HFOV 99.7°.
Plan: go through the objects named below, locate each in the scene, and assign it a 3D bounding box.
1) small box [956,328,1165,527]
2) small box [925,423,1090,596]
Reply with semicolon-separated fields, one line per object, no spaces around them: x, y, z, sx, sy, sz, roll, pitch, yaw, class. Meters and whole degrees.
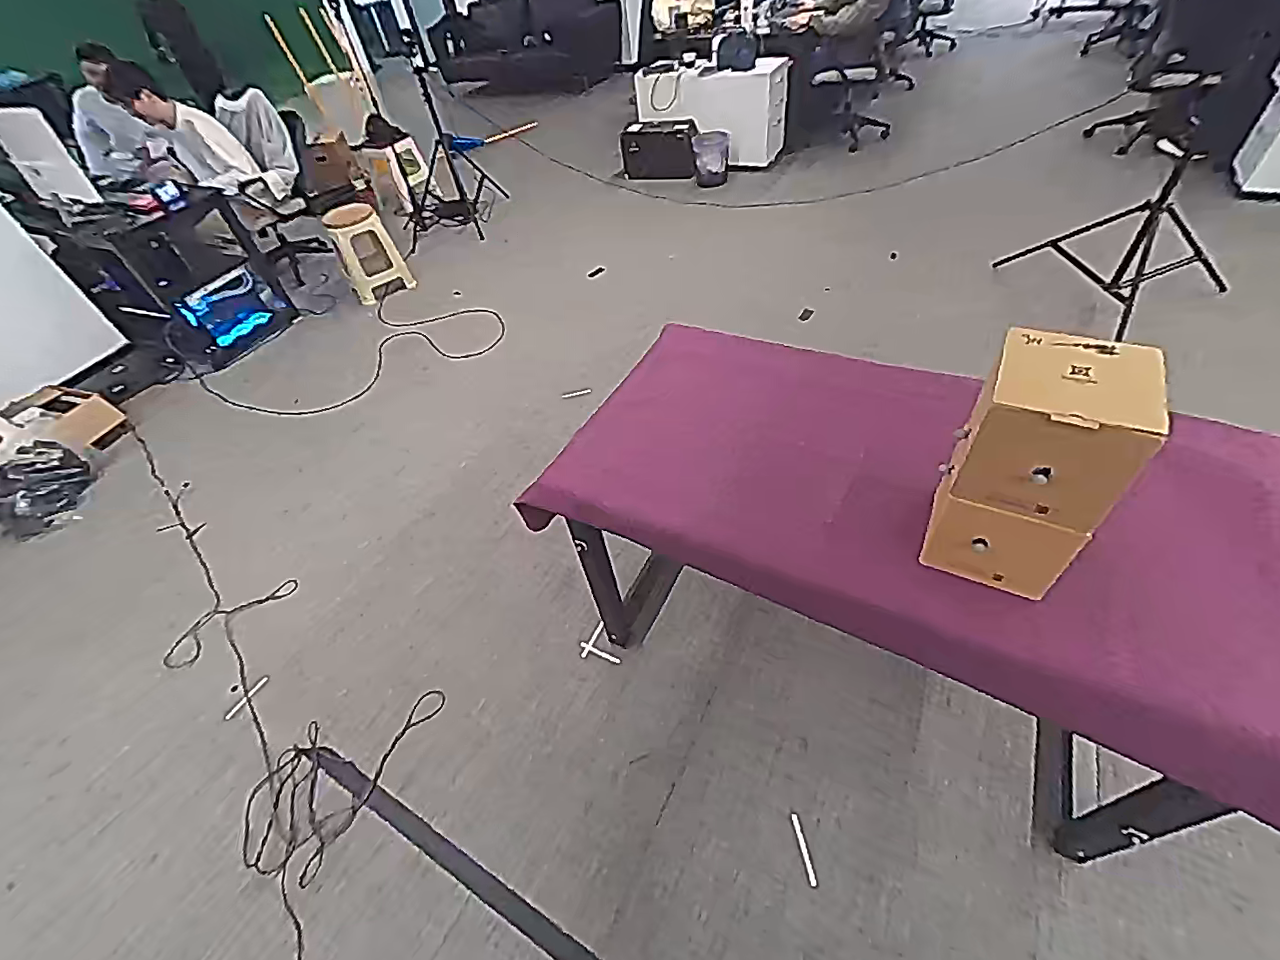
0.532;-0.068;0.702;0.168;0.176;0.179;19;53;25;small box
0.549;0.046;0.819;0.168;0.176;0.179;18;52;24;small box
